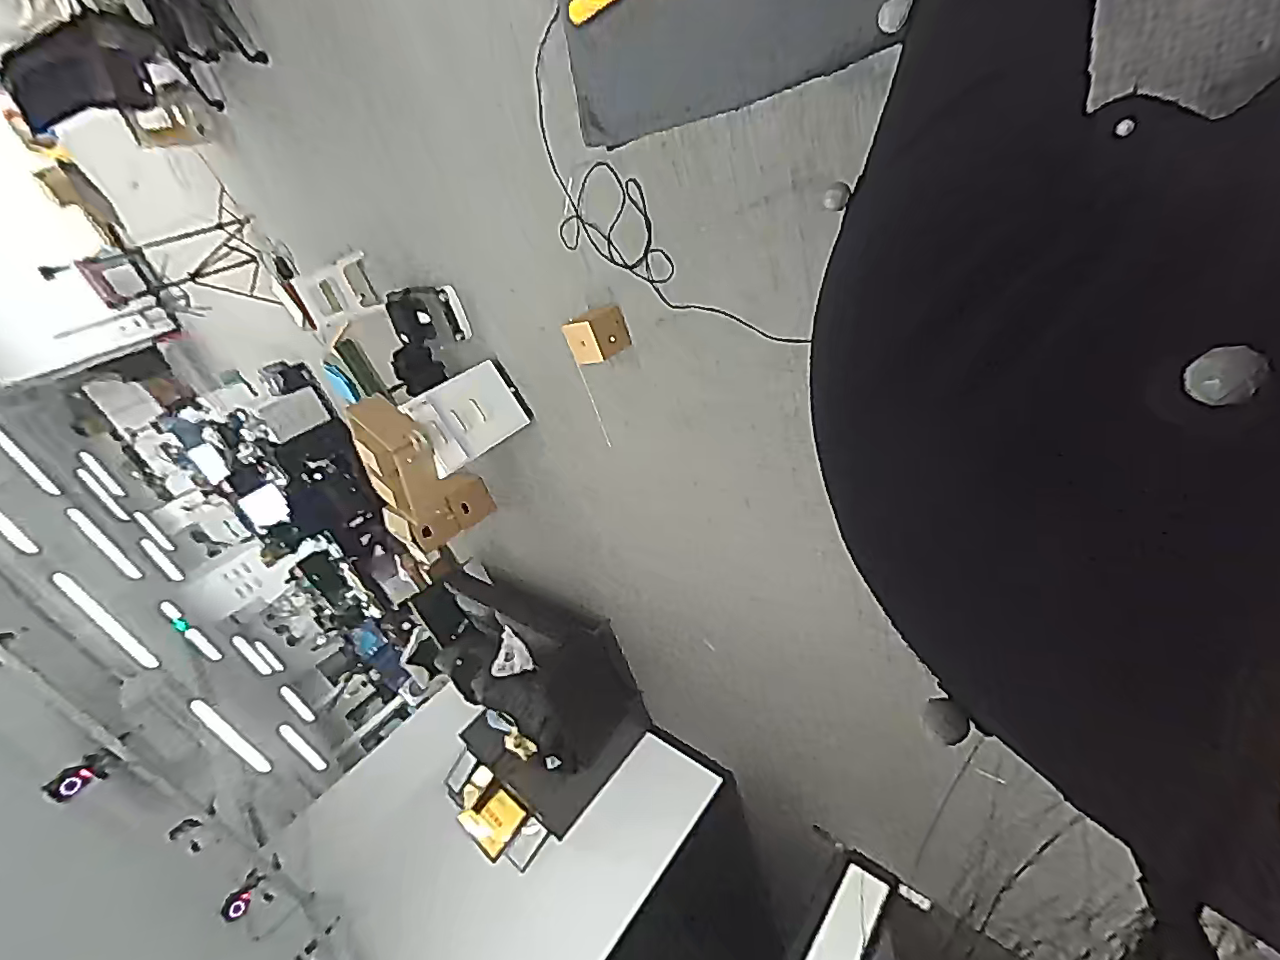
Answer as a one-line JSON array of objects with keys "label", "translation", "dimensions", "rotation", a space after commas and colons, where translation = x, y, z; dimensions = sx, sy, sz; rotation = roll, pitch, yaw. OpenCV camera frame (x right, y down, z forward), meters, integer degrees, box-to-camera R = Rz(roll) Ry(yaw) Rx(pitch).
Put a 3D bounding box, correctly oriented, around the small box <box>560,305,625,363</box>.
[{"label": "small box", "translation": [-0.179, -0.578, 2.143], "dimensions": [0.179, 0.176, 0.168], "rotation": [7, 129, 46]}]
